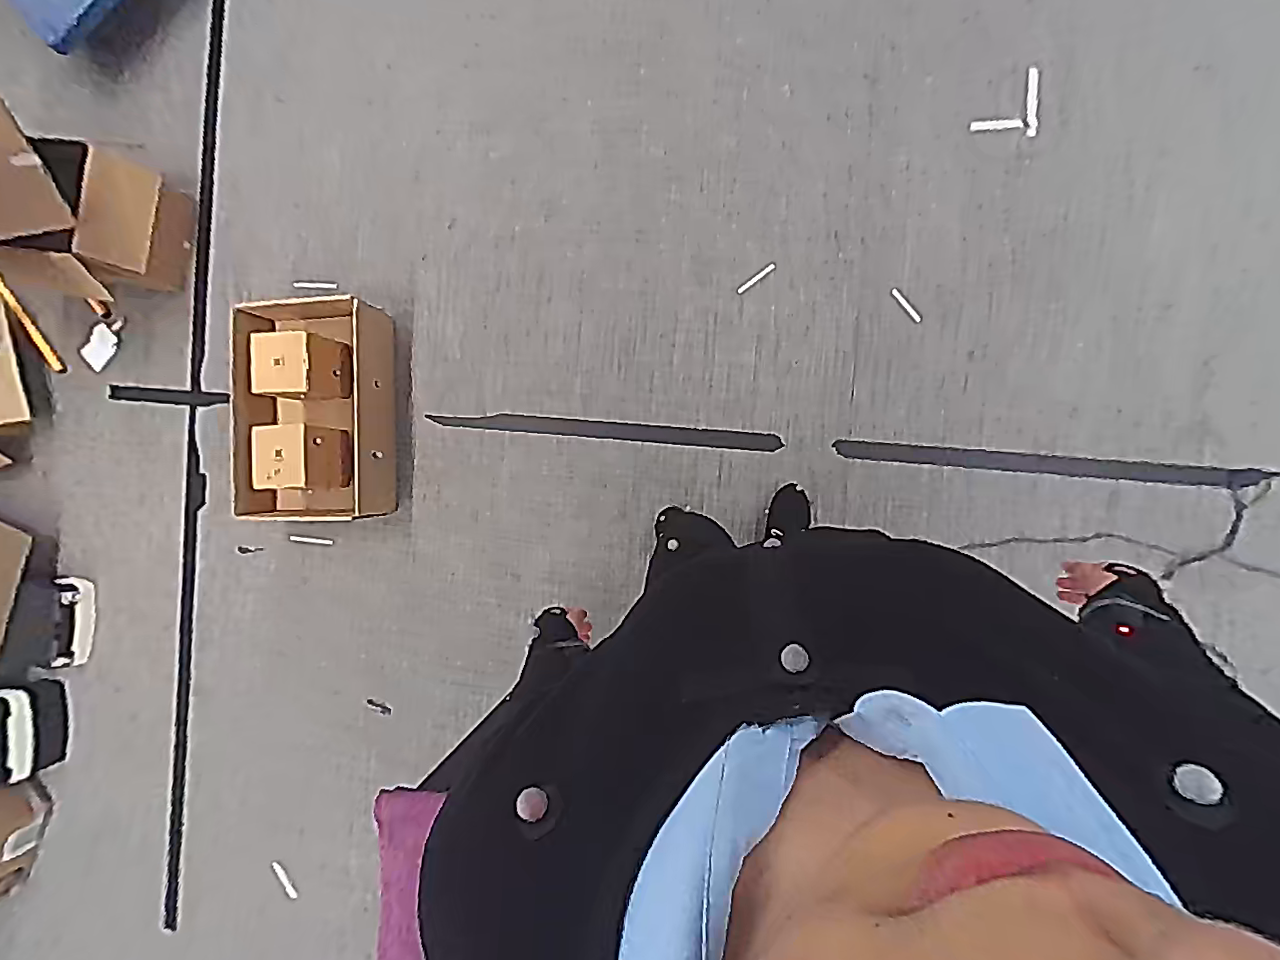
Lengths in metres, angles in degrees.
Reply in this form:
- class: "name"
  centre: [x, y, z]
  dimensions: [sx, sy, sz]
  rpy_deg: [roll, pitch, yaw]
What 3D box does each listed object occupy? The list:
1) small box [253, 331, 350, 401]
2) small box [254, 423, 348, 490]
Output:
- class: "small box"
  centre: [-0.971, -0.322, 1.557]
  dimensions: [0.179, 0.176, 0.168]
  rpy_deg: [-1, 91, 9]
- class: "small box"
  centre: [-0.968, -0.062, 1.555]
  dimensions: [0.168, 0.176, 0.179]
  rpy_deg: [-2, 89, 10]
